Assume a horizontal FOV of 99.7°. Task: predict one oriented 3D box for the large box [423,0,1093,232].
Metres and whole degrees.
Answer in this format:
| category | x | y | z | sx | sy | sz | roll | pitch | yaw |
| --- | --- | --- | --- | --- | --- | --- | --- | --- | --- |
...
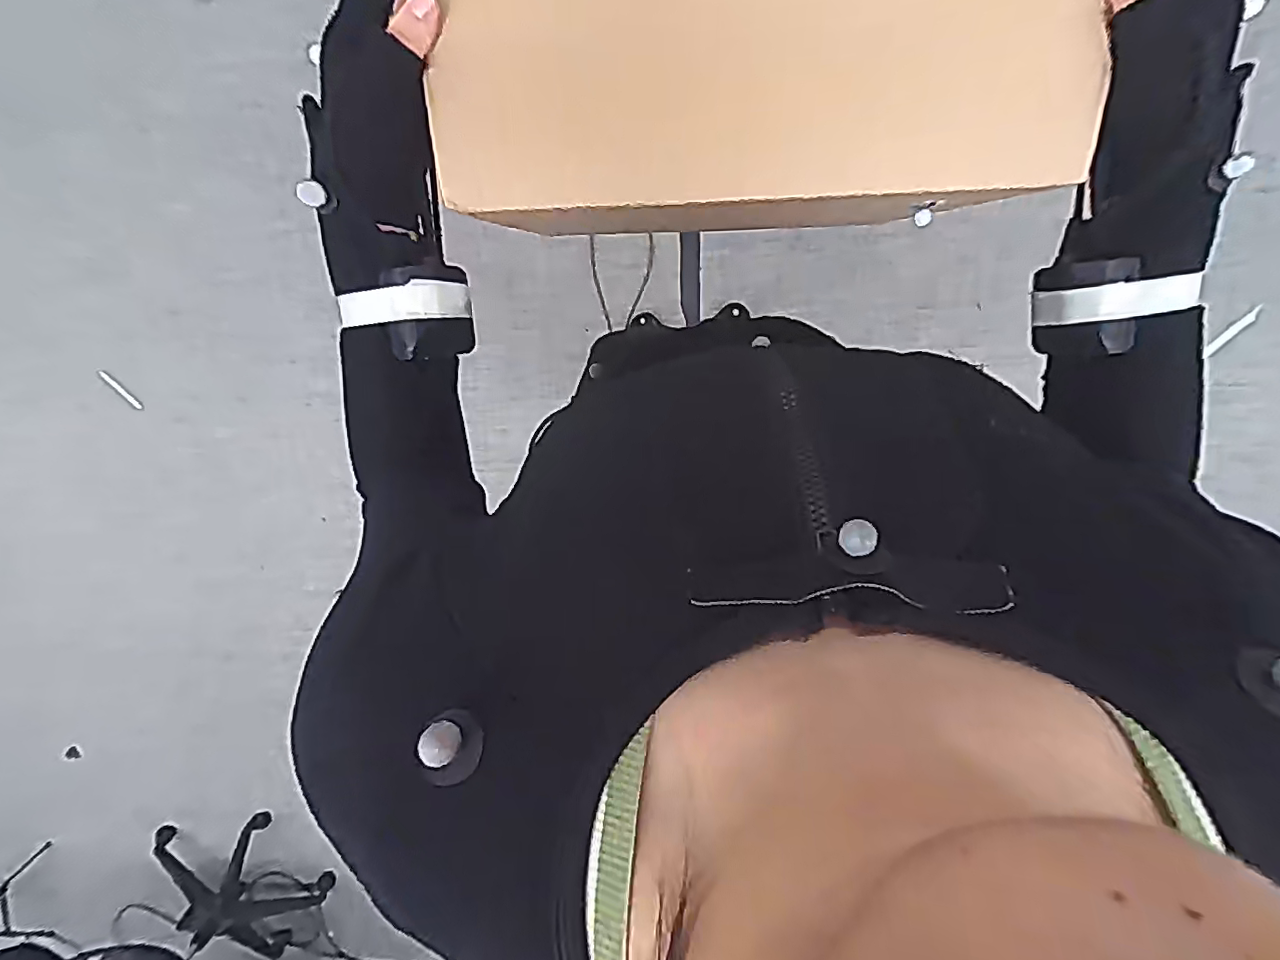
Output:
| category | x | y | z | sx | sy | sz | roll | pitch | yaw |
| --- | --- | --- | --- | --- | --- | --- | --- | --- | --- |
| large box | 0.071 | -0.384 | 0.440 | 0.408 | 0.320 | 0.320 | -2 | 111 | 2 |
